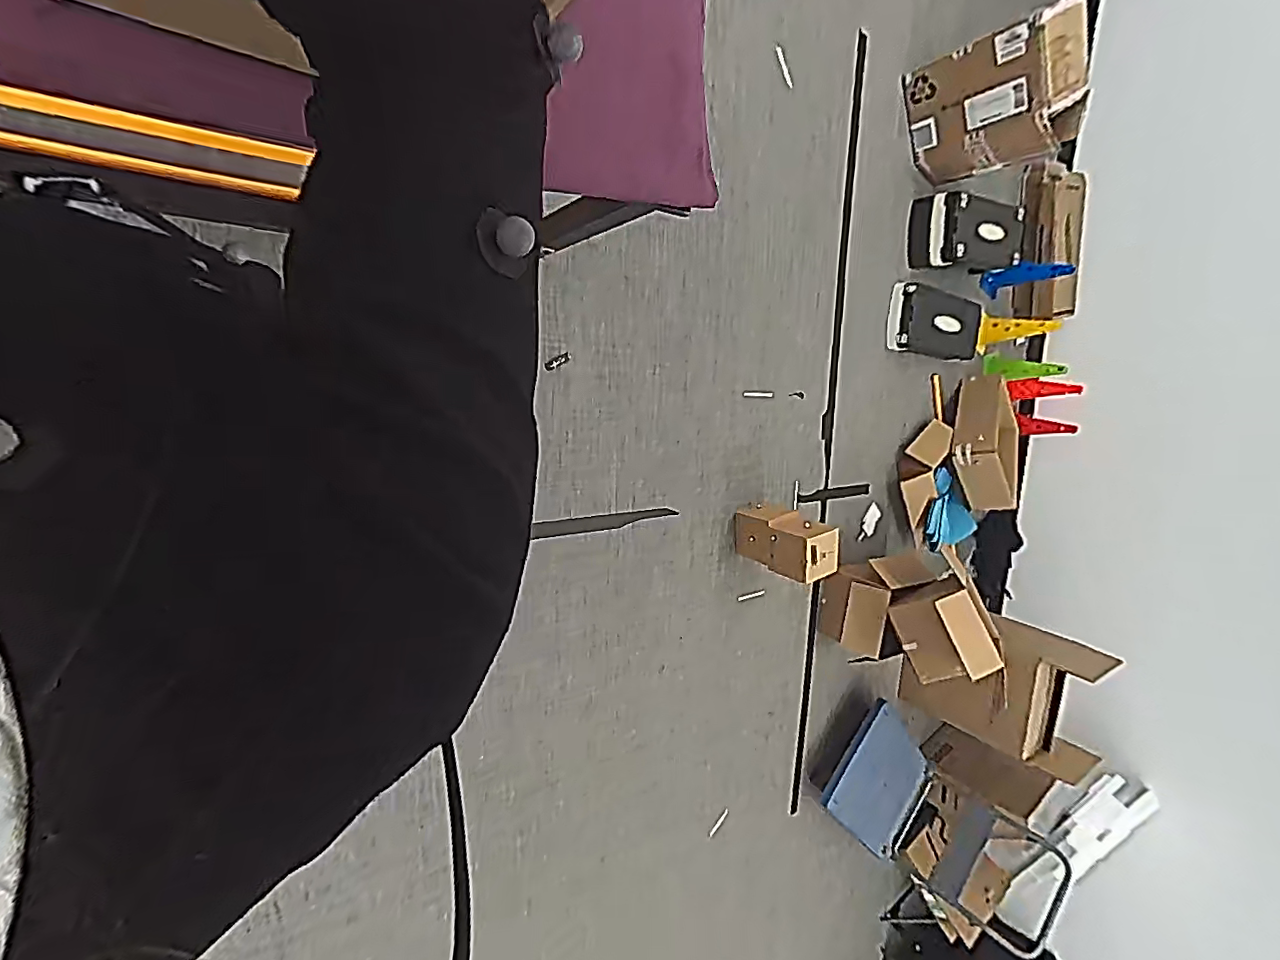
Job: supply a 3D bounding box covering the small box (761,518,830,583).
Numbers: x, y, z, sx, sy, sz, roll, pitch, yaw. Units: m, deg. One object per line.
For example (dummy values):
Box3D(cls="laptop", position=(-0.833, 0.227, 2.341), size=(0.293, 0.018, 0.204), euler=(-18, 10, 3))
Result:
Box3D(cls="small box", position=(0.546, 0.242, 1.910), size=(0.179, 0.176, 0.168), euler=(-12, 107, -35))
